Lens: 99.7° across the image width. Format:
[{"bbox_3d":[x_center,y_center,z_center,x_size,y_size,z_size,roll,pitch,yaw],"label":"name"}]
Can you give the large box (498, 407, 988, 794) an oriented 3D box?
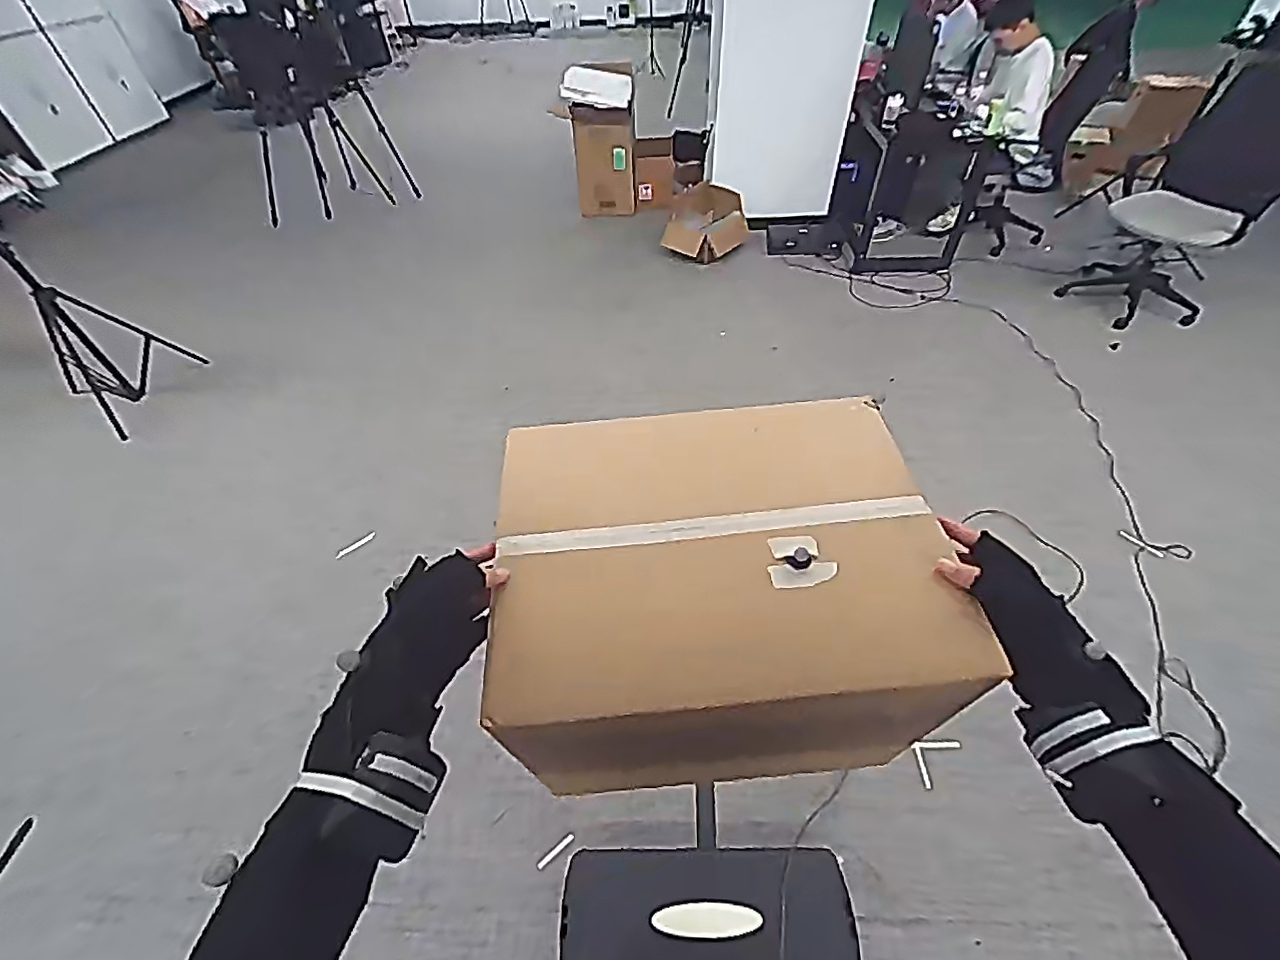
[{"bbox_3d":[0.075,0.147,0.634,0.408,0.320,0.320,-5,52,-1],"label":"large box"}]
